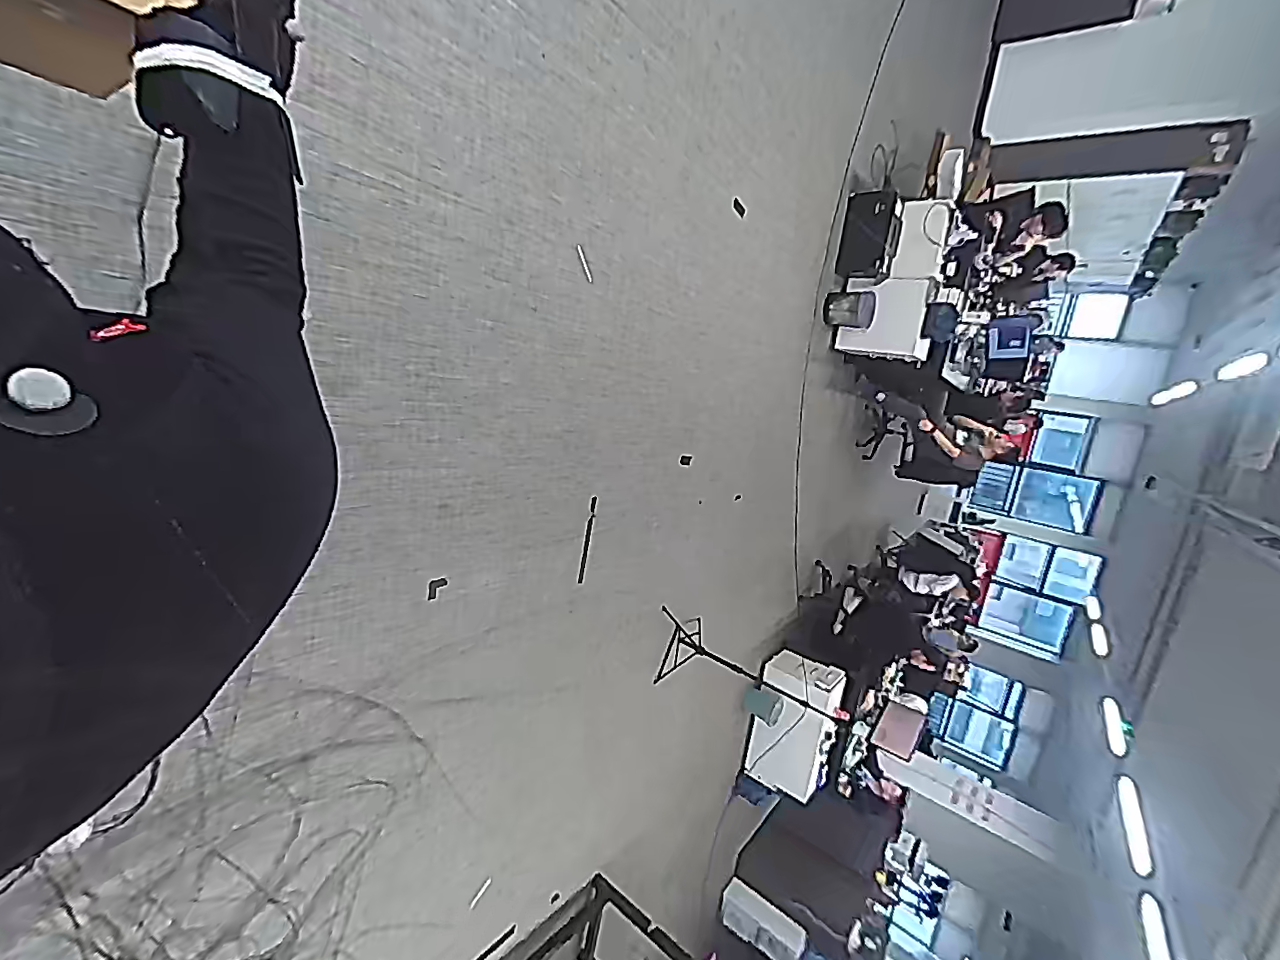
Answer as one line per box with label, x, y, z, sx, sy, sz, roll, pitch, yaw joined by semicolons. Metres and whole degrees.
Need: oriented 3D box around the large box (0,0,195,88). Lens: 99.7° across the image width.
large box;-0.531;-0.491;0.283;0.408;0.320;0.320;-5;111;-54
